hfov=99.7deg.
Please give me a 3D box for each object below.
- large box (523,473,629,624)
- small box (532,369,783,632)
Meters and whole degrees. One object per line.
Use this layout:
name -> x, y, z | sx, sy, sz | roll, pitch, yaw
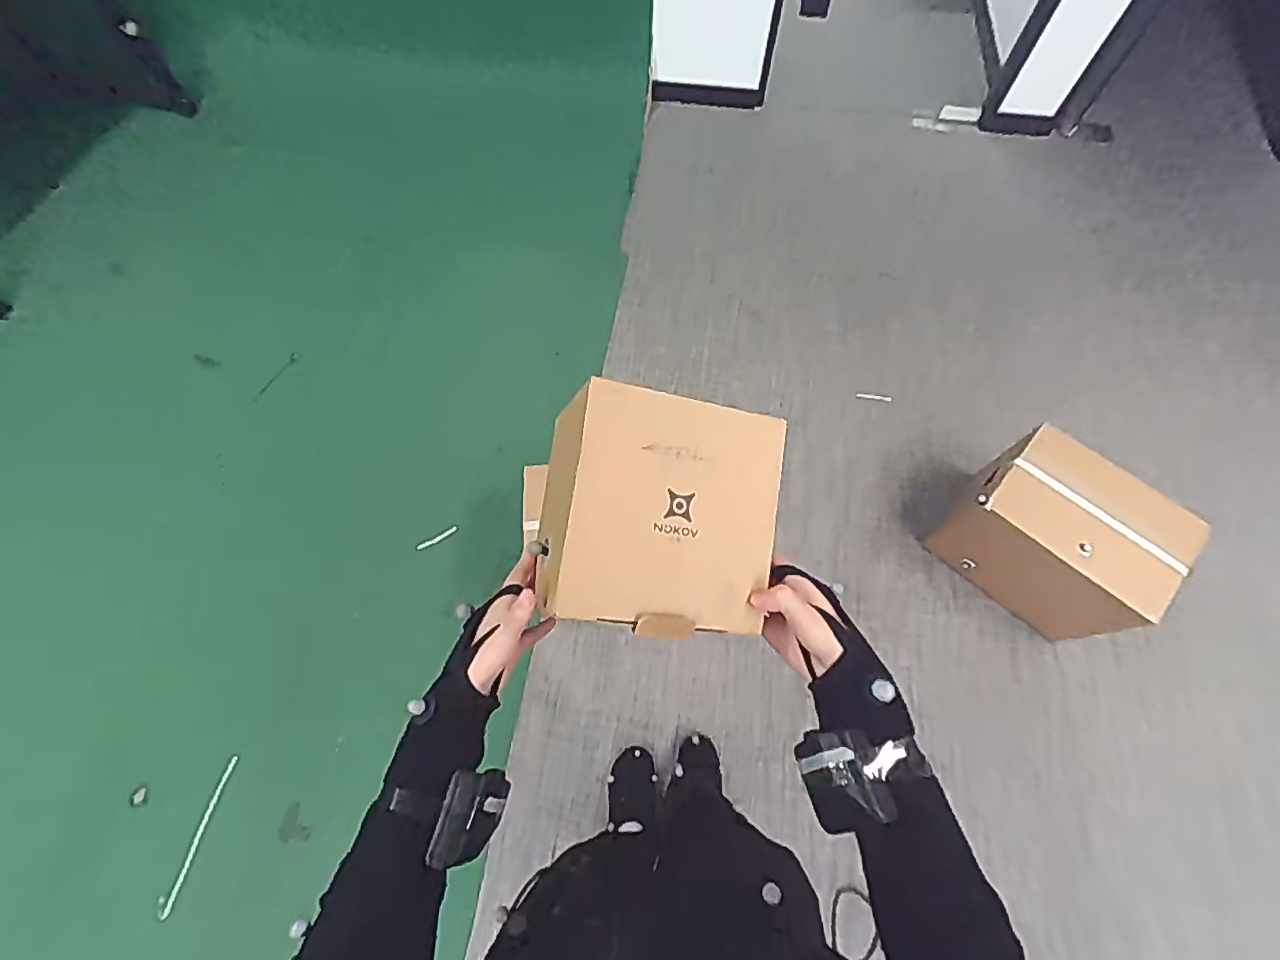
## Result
large box -> -0.063, 0.169, 1.360 | 0.408, 0.320, 0.320 | -4, 64, -1
small box -> 0.003, 0.025, 0.481 | 0.168, 0.176, 0.179 | 11, 82, -16
